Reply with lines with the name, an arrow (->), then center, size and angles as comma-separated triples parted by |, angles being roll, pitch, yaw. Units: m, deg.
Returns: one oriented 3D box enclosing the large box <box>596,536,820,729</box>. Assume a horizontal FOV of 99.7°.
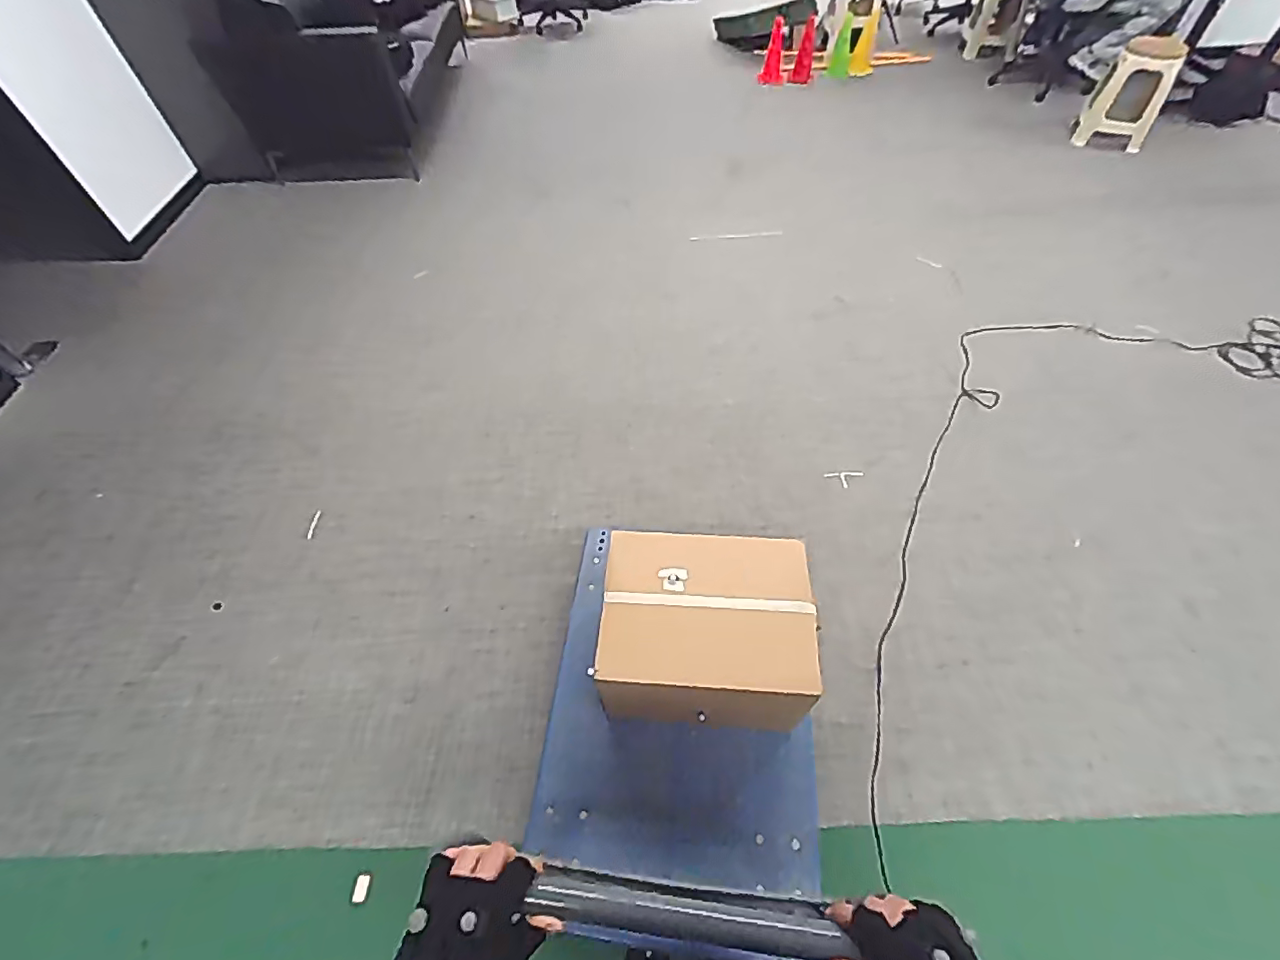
large box -> 0.136, 0.334, 1.165 | 0.408, 0.320, 0.320 | 2, 52, 5
